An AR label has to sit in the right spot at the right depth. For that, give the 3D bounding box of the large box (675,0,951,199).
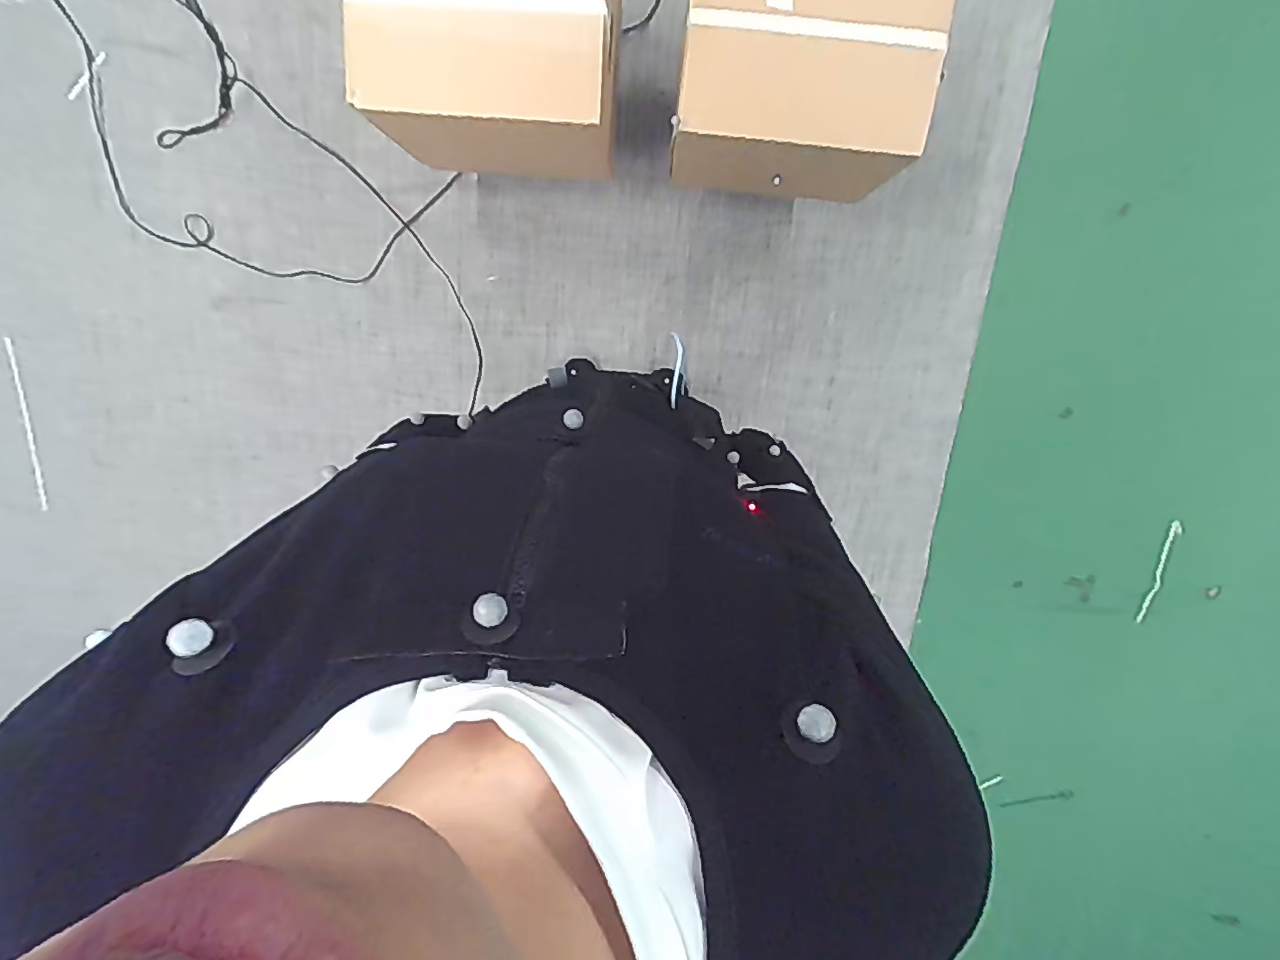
[{"bbox_3d":[0.284,-0.736,0.998,0.408,0.320,0.320,7,104,0],"label":"large box"}]
